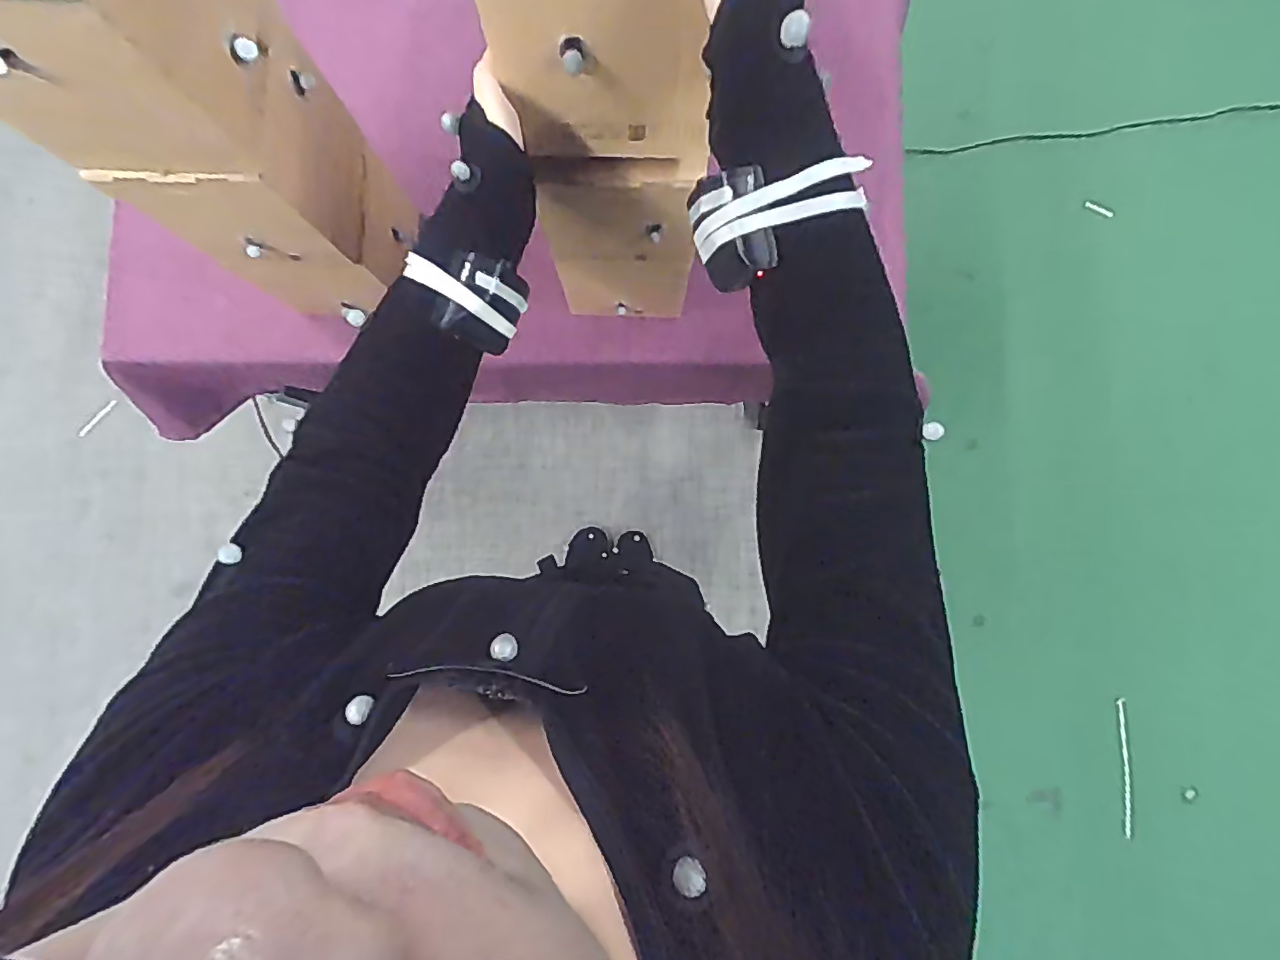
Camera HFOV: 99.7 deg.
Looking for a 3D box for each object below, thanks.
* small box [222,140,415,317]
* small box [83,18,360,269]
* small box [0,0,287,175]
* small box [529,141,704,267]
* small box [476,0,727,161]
[{"bbox_3d":[-0.423,-0.333,0.740,0.179,0.176,0.168,-1,86,-1],"label":"small box"},{"bbox_3d":[-0.421,-0.349,0.576,0.168,0.176,0.179,0,86,0],"label":"small box"},{"bbox_3d":[-0.414,-0.362,0.412,0.179,0.176,0.168,2,86,-1],"label":"small box"},{"bbox_3d":[-0.020,-0.346,0.581,0.168,0.176,0.179,1,86,-1],"label":"small box"},{"bbox_3d":[-0.021,-0.374,0.407,0.168,0.176,0.179,1,76,0],"label":"small box"}]
